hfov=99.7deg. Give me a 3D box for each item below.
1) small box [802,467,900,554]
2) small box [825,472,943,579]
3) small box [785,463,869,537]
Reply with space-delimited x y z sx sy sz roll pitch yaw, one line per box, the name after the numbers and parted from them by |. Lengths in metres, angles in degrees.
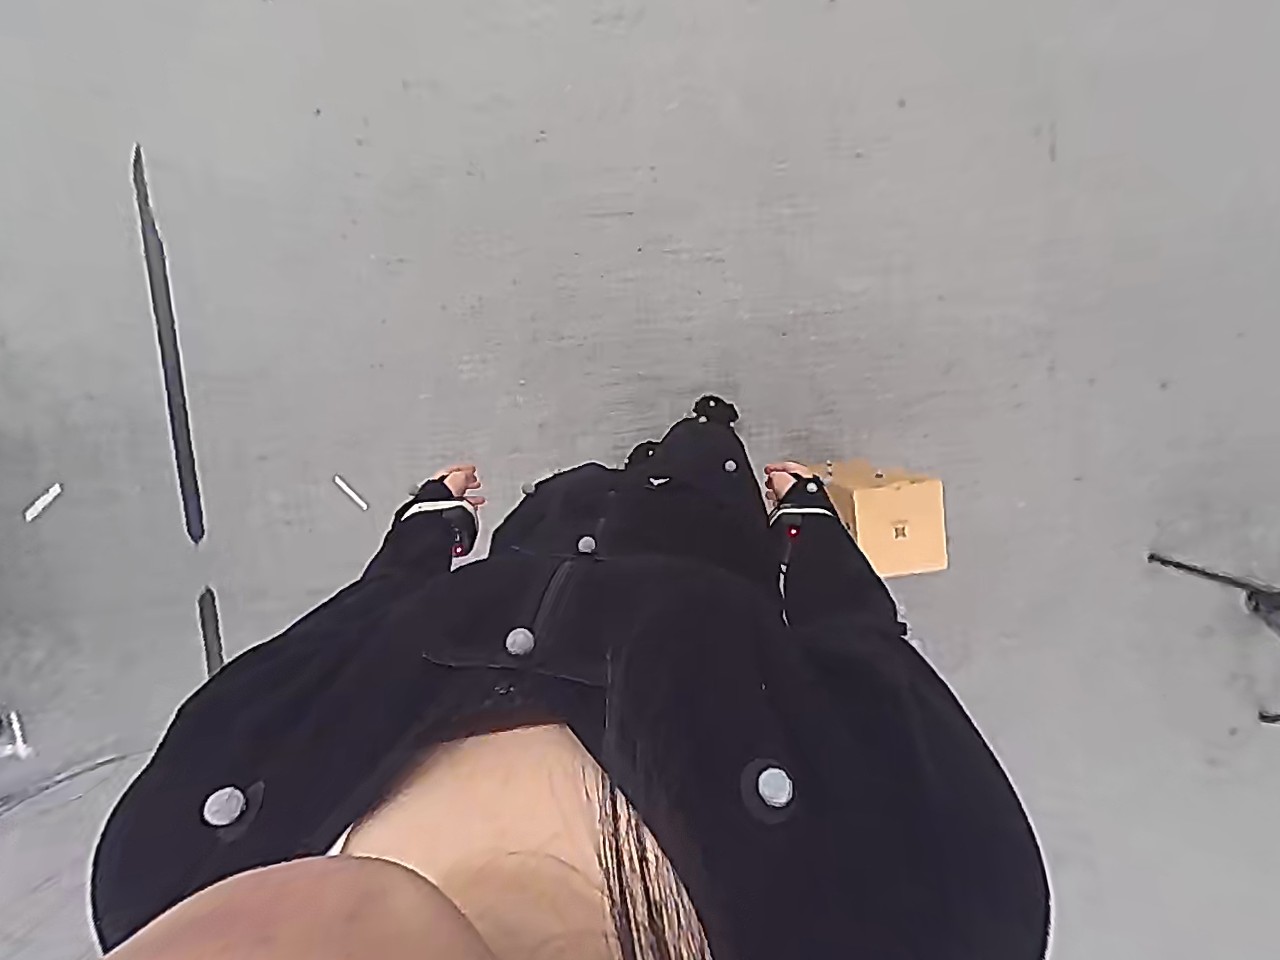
0.483 0.065 1.249 0.179 0.176 0.168 -7 97 1 | small box
0.483 0.085 1.089 0.168 0.176 0.179 -7 96 2 | small box
0.484 0.047 1.411 0.179 0.176 0.168 -6 96 1 | small box
